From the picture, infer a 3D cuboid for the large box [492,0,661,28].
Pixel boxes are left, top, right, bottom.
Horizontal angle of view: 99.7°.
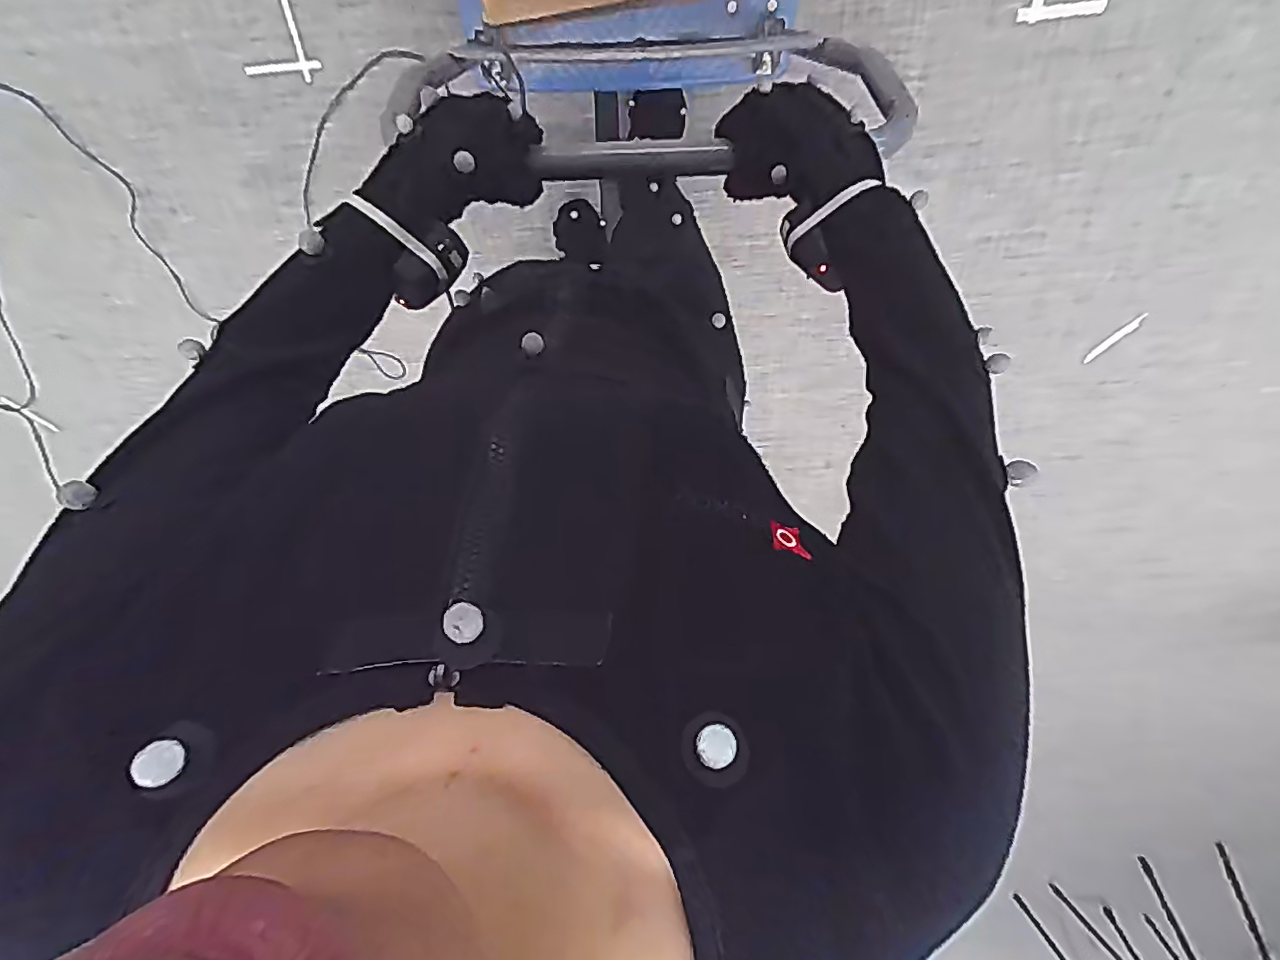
[{"bbox_3d":[-0.028,-0.847,0.725,0.408,0.320,0.320,-8,129,3],"label":"large box"}]
